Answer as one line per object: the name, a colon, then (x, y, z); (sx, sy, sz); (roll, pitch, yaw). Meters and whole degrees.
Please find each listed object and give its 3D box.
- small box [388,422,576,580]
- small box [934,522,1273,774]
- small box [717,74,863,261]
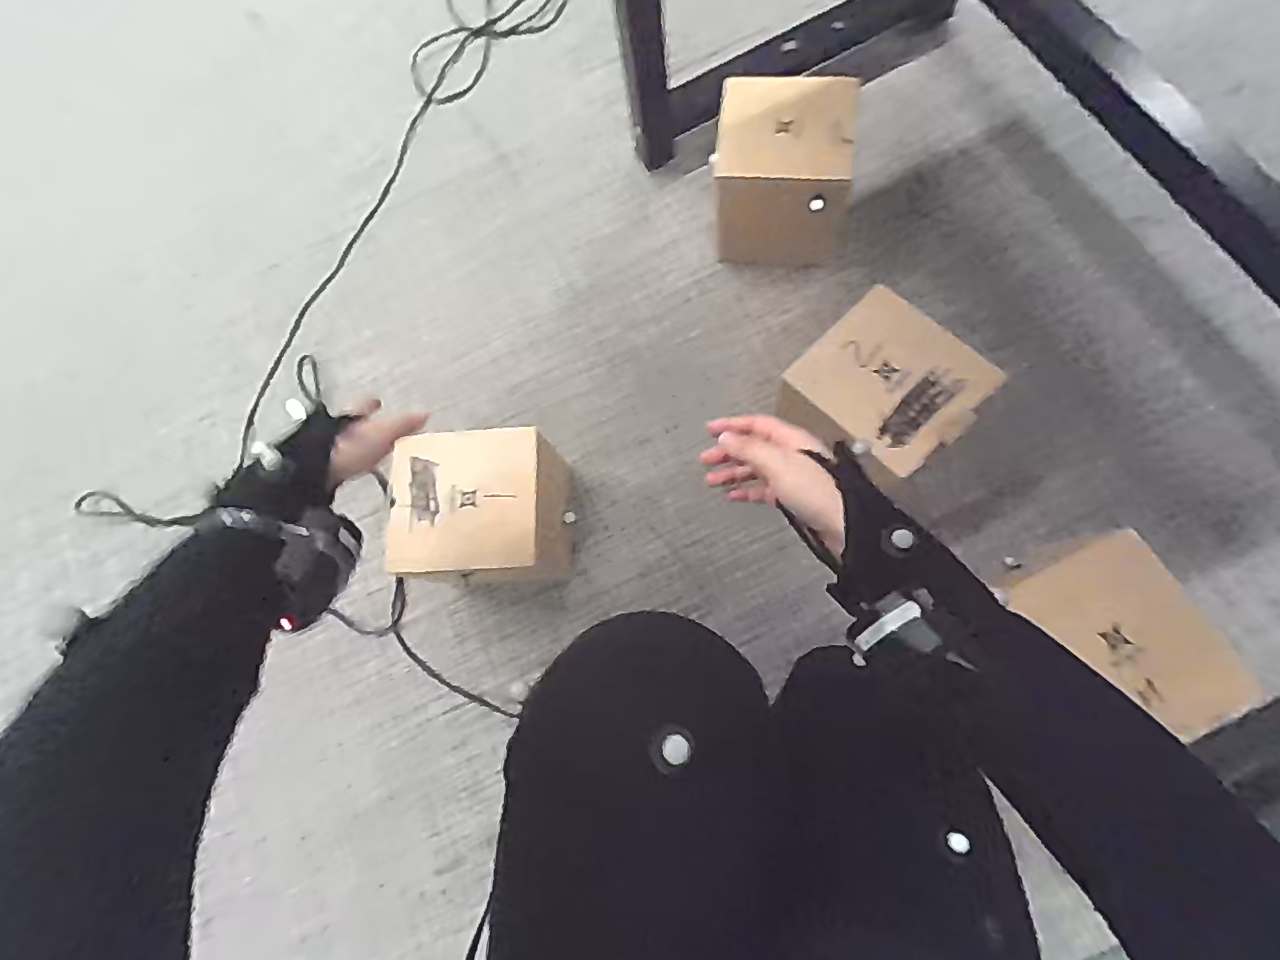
small box: (-0.188, 0.036, 0.691); (0.179, 0.176, 0.168); (-3, 75, 6)
small box: (0.454, 0.170, 0.572); (0.168, 0.176, 0.179); (-28, 74, 0)
small box: (0.204, -0.436, 0.773); (0.179, 0.176, 0.168); (6, 75, 8)
